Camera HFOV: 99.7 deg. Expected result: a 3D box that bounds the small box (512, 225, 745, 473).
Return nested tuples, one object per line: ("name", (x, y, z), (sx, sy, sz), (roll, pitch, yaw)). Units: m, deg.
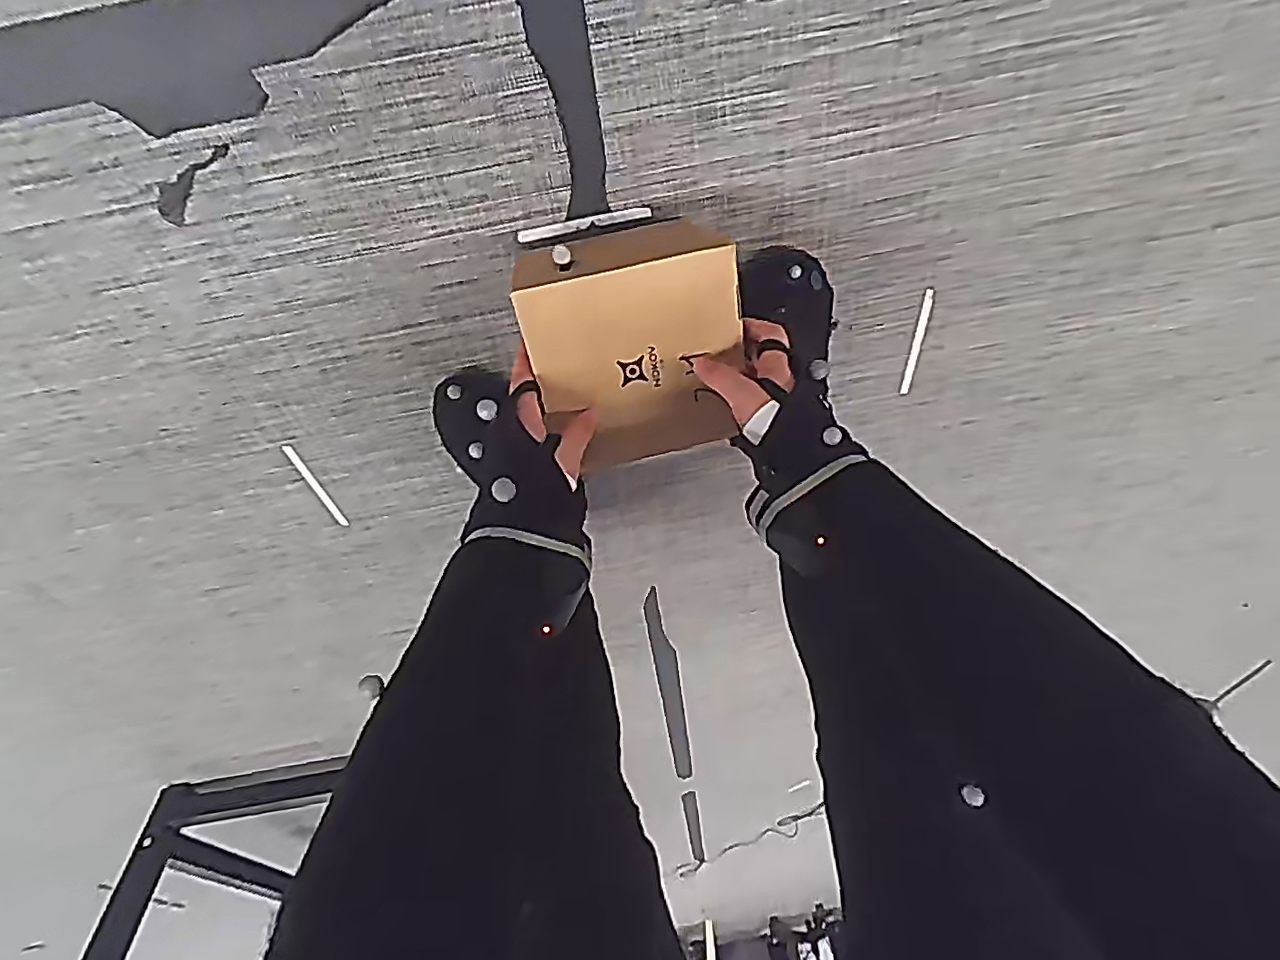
("small box", (-0.014, -0.133, 0.515), (0.179, 0.176, 0.168), (-14, 124, -5))
